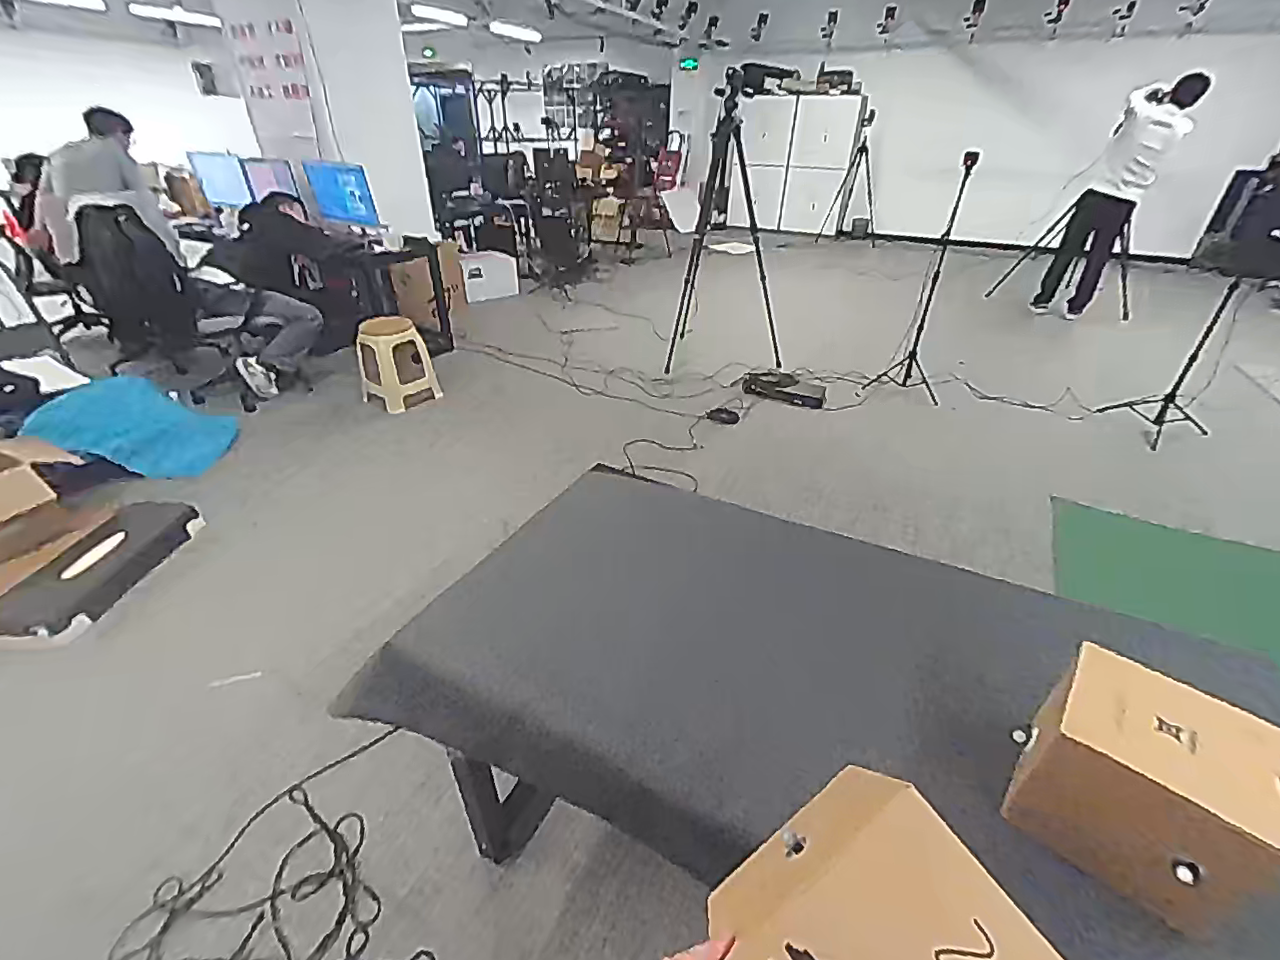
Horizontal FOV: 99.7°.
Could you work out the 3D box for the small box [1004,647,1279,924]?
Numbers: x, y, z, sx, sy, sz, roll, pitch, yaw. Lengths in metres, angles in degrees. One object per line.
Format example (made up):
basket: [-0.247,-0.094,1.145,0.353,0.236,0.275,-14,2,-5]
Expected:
small box: [0.540,0.329,0.588,0.179,0.176,0.168,26,39,35]
